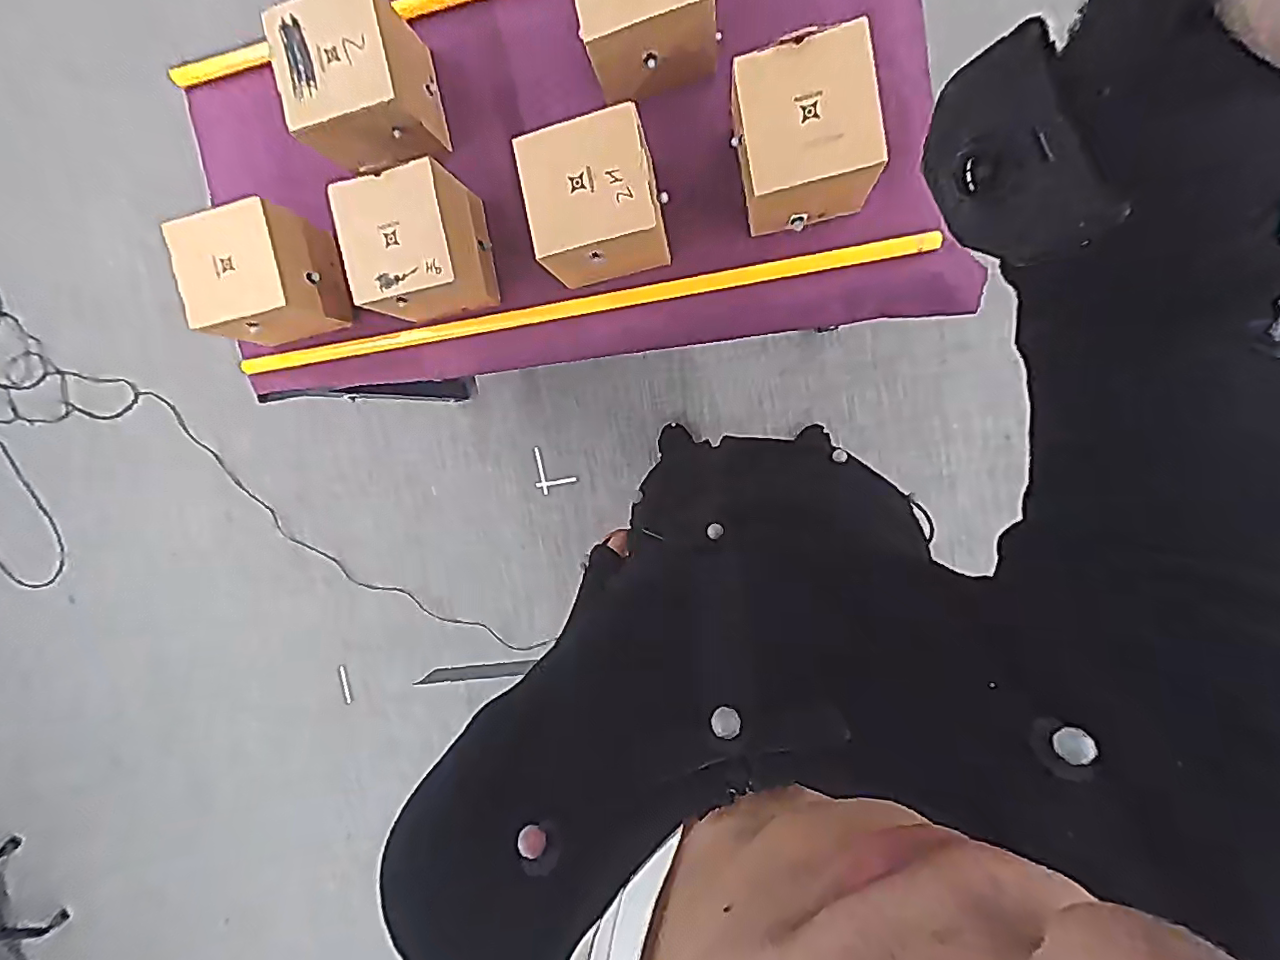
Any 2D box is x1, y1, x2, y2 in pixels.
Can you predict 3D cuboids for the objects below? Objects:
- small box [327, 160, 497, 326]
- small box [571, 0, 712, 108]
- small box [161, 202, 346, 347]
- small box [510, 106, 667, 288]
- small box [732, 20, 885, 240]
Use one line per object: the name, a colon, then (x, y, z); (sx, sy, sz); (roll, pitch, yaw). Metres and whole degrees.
small box: (-0.346, -0.357, 0.849); (0.168, 0.176, 0.179); (-9, 95, 11)
small box: (0.001, -0.669, 0.758); (0.179, 0.176, 0.168); (-12, 96, 11)
small box: (-0.621, -0.328, 0.897); (0.179, 0.176, 0.168); (-11, 94, 9)
small box: (-0.067, -0.399, 0.799); (0.179, 0.176, 0.168); (-10, 94, 10)
small box: (0.220, -0.462, 0.745); (0.168, 0.176, 0.179); (-10, 93, 12)
